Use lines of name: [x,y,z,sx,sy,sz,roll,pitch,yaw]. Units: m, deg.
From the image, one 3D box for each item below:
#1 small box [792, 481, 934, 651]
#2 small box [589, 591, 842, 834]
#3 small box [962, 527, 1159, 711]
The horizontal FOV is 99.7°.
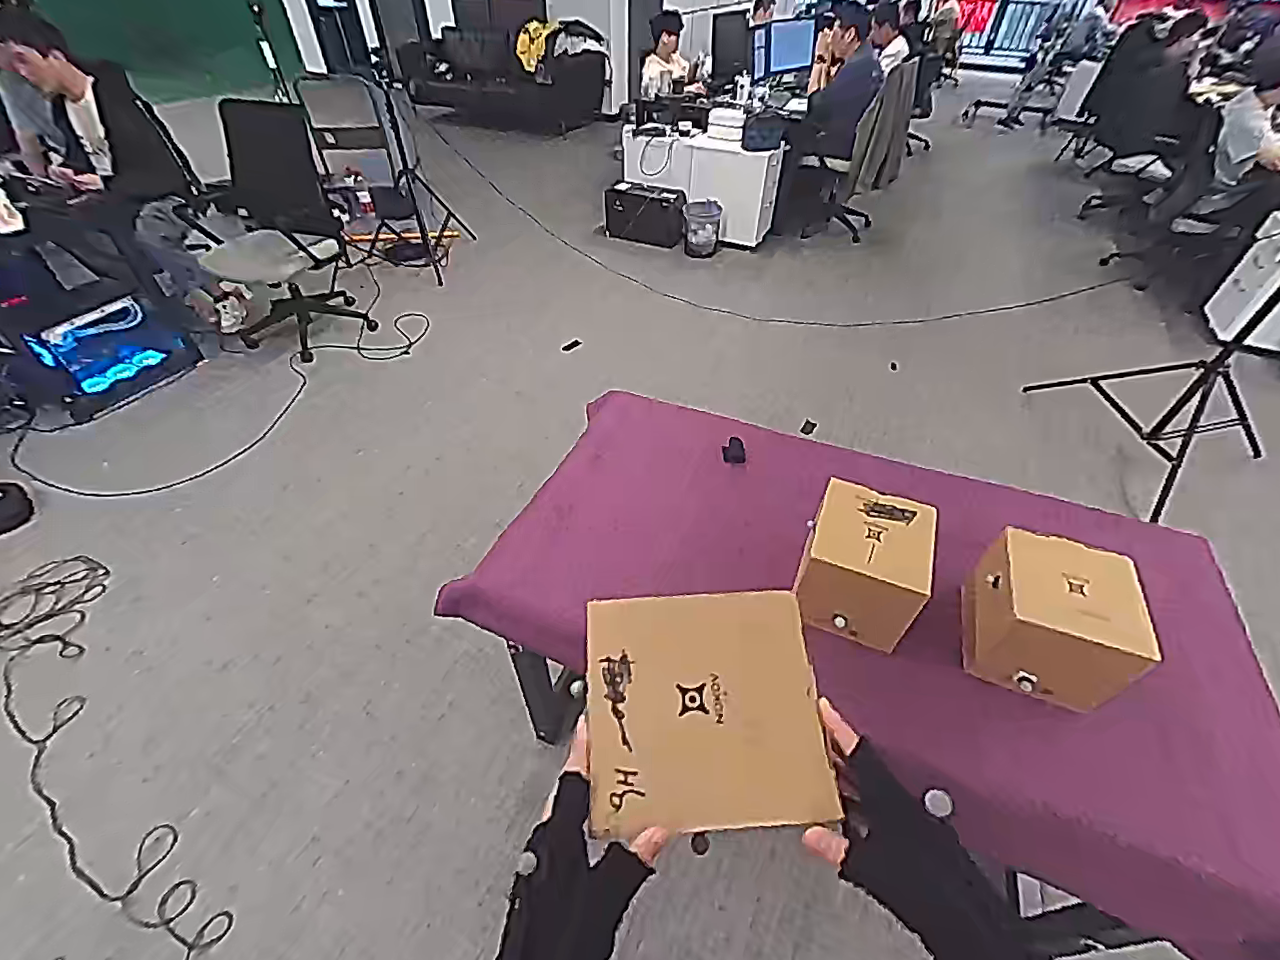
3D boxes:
small box: [0.349,0.136,0.864,0.168,0.176,0.179,17,47,16]
small box: [0.046,0.207,0.473,0.179,0.176,0.168,-2,56,-3]
small box: [0.598,0.204,0.801,0.168,0.176,0.179,15,47,16]
